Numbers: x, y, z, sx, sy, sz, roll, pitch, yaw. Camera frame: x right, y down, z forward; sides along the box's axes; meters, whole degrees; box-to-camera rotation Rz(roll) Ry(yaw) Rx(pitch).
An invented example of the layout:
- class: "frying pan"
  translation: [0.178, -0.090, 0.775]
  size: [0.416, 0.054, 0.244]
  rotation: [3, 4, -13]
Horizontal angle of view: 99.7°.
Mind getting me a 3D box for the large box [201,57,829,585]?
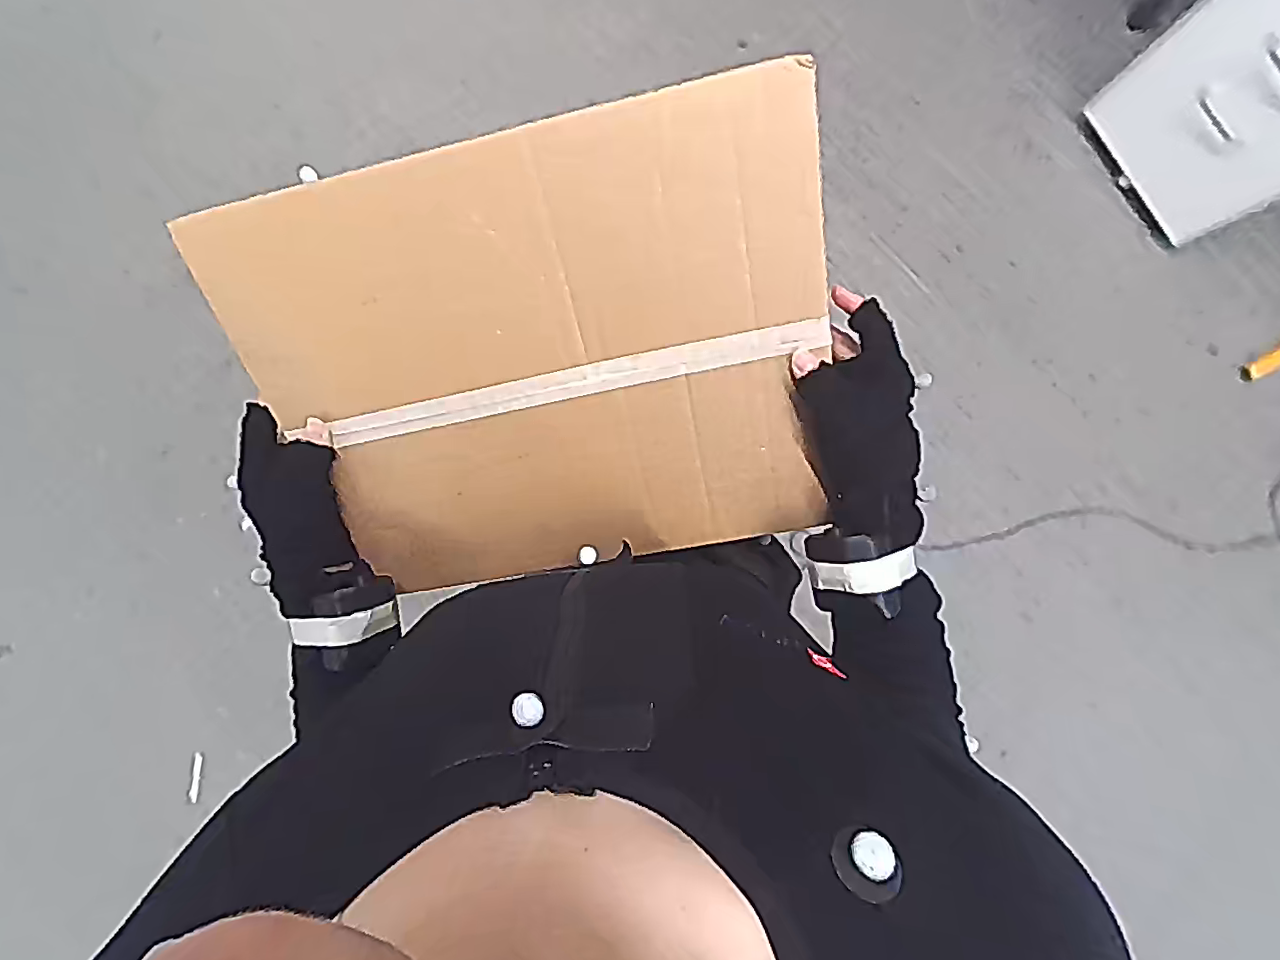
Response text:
- class: "large box"
  translation: [-0.069, -0.142, 0.534]
  size: [0.408, 0.320, 0.320]
  rotation: [-11, 118, 7]
